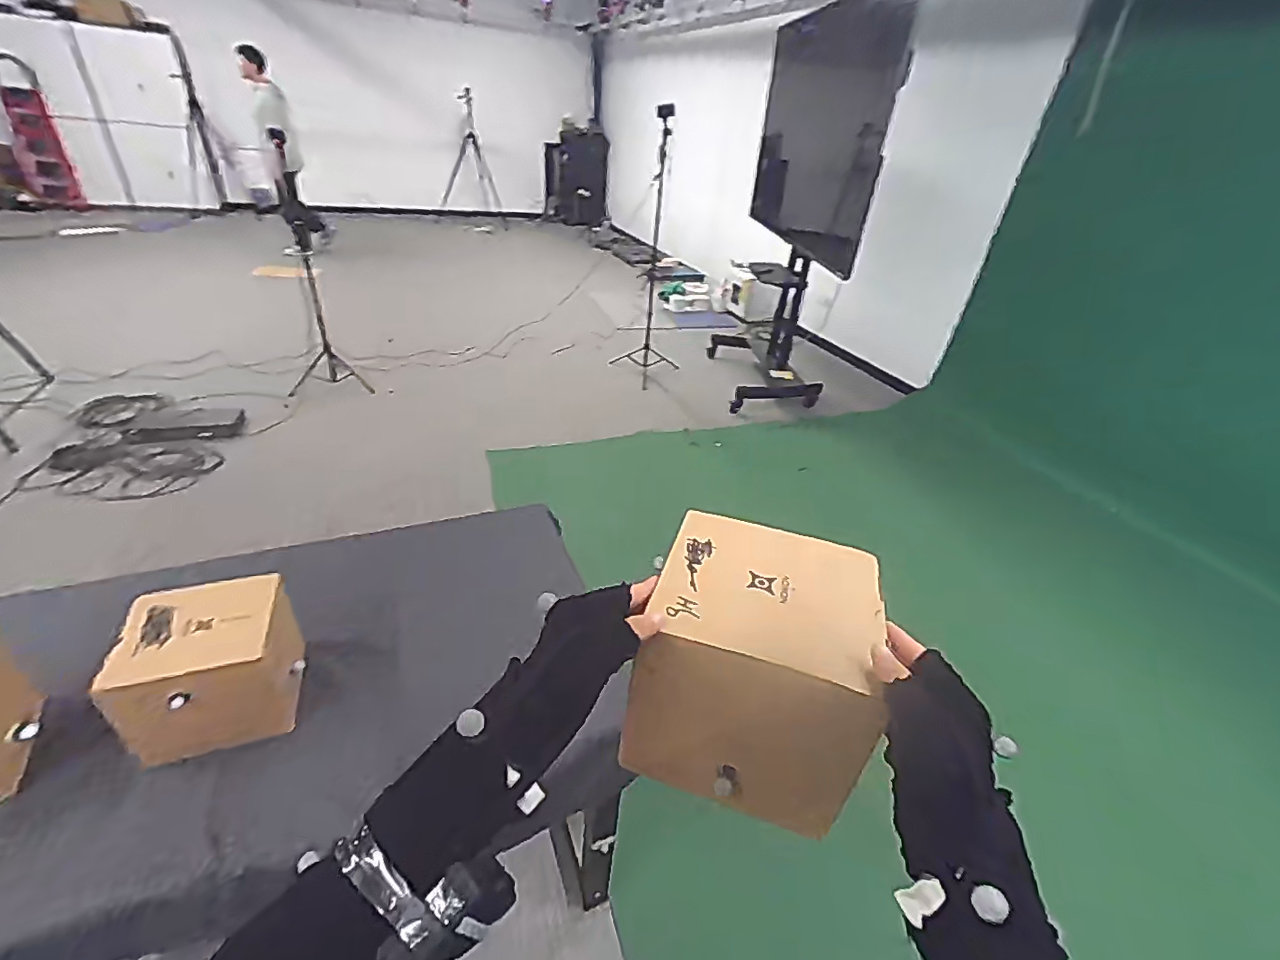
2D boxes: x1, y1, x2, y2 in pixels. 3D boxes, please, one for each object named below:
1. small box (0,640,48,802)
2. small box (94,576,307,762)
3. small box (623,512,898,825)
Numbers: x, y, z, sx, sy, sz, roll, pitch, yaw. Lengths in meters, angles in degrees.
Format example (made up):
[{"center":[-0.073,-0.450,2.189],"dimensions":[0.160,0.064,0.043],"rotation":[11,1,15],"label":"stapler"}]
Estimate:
[{"center":[-0.894,0.316,0.657],"dimensions":[0.179,0.176,0.168],"rotation":[-14,39,-29],"label":"small box"},{"center":[-0.604,0.268,0.774],"dimensions":[0.179,0.176,0.168],"rotation":[-8,36,-21],"label":"small box"},{"center":[0.098,0.158,0.471],"dimensions":[0.179,0.176,0.168],"rotation":[16,30,12],"label":"small box"}]
